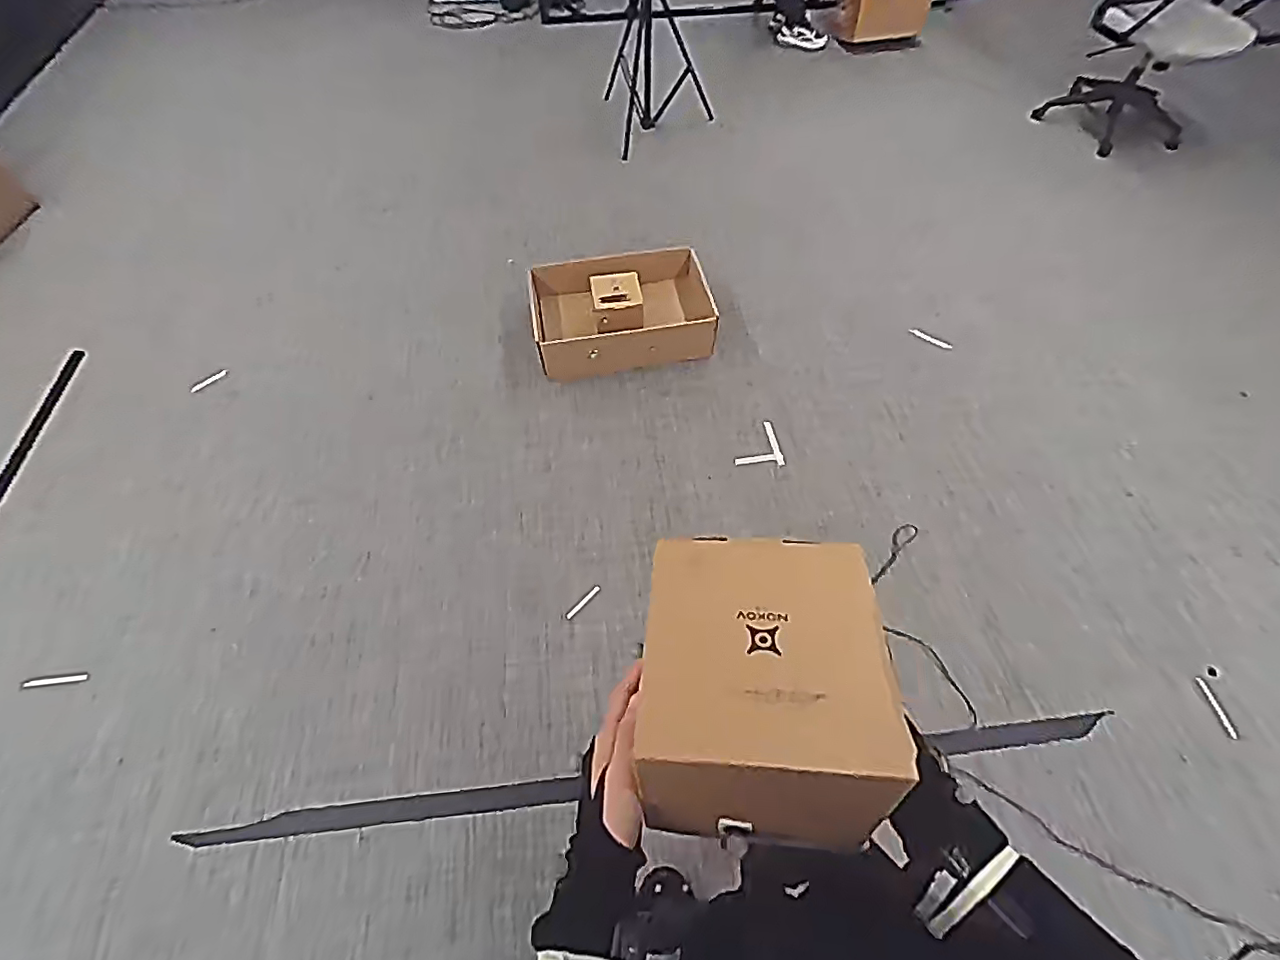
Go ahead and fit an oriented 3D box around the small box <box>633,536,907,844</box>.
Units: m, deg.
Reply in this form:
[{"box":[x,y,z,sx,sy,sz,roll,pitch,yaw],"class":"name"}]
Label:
[{"box":[0.088,0.166,0.438,0.168,0.176,0.179,0,44,6],"class":"small box"}]
